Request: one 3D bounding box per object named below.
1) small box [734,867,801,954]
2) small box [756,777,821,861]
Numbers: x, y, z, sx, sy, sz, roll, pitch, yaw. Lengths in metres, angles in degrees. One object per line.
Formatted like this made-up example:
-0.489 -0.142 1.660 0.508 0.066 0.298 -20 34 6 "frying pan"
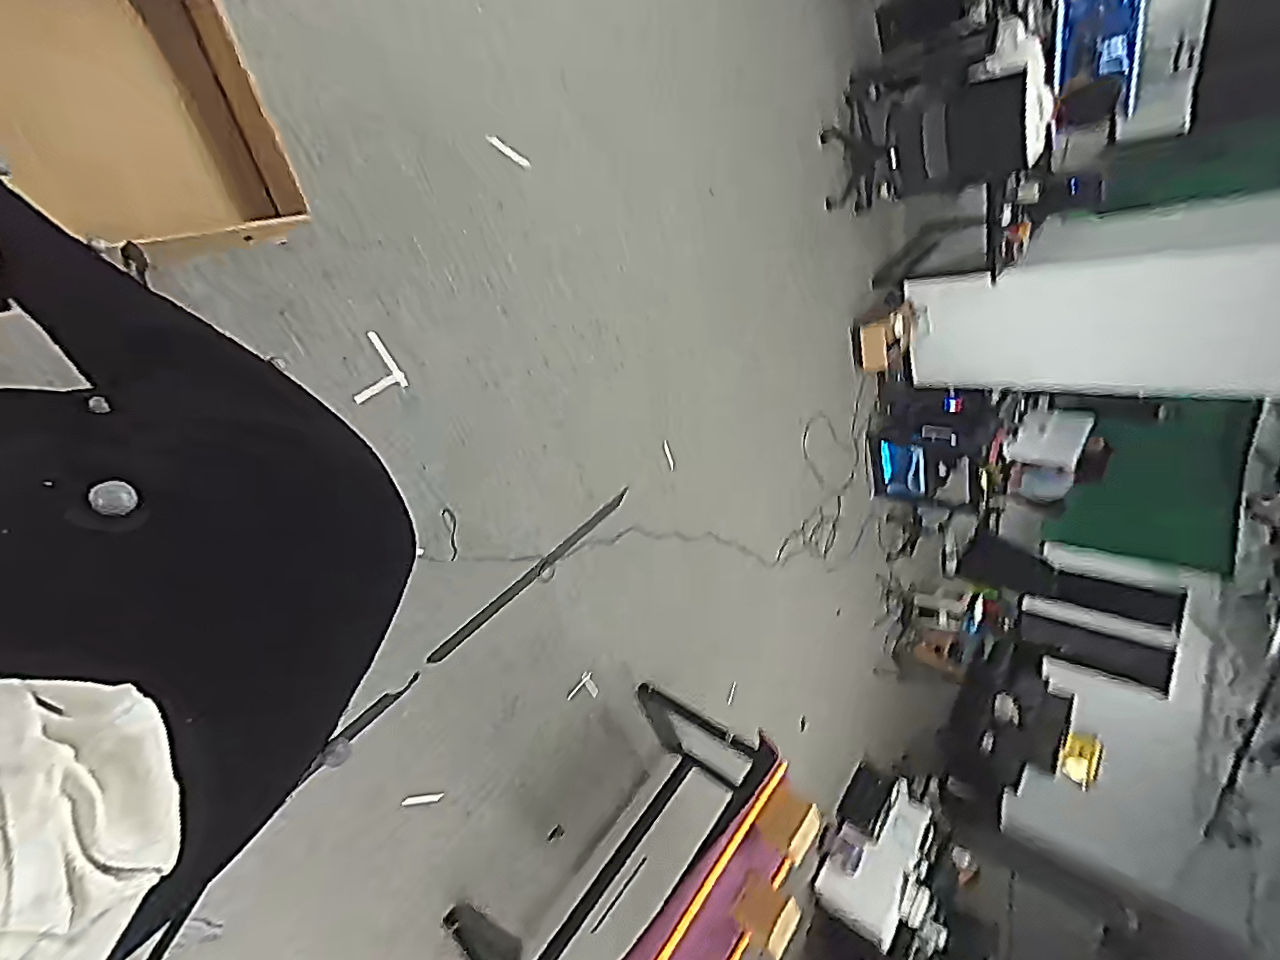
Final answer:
0.484 1.629 2.056 0.168 0.176 0.179 -41 123 -32 "small box"
0.557 1.278 2.049 0.179 0.176 0.168 -41 125 -29 "small box"
